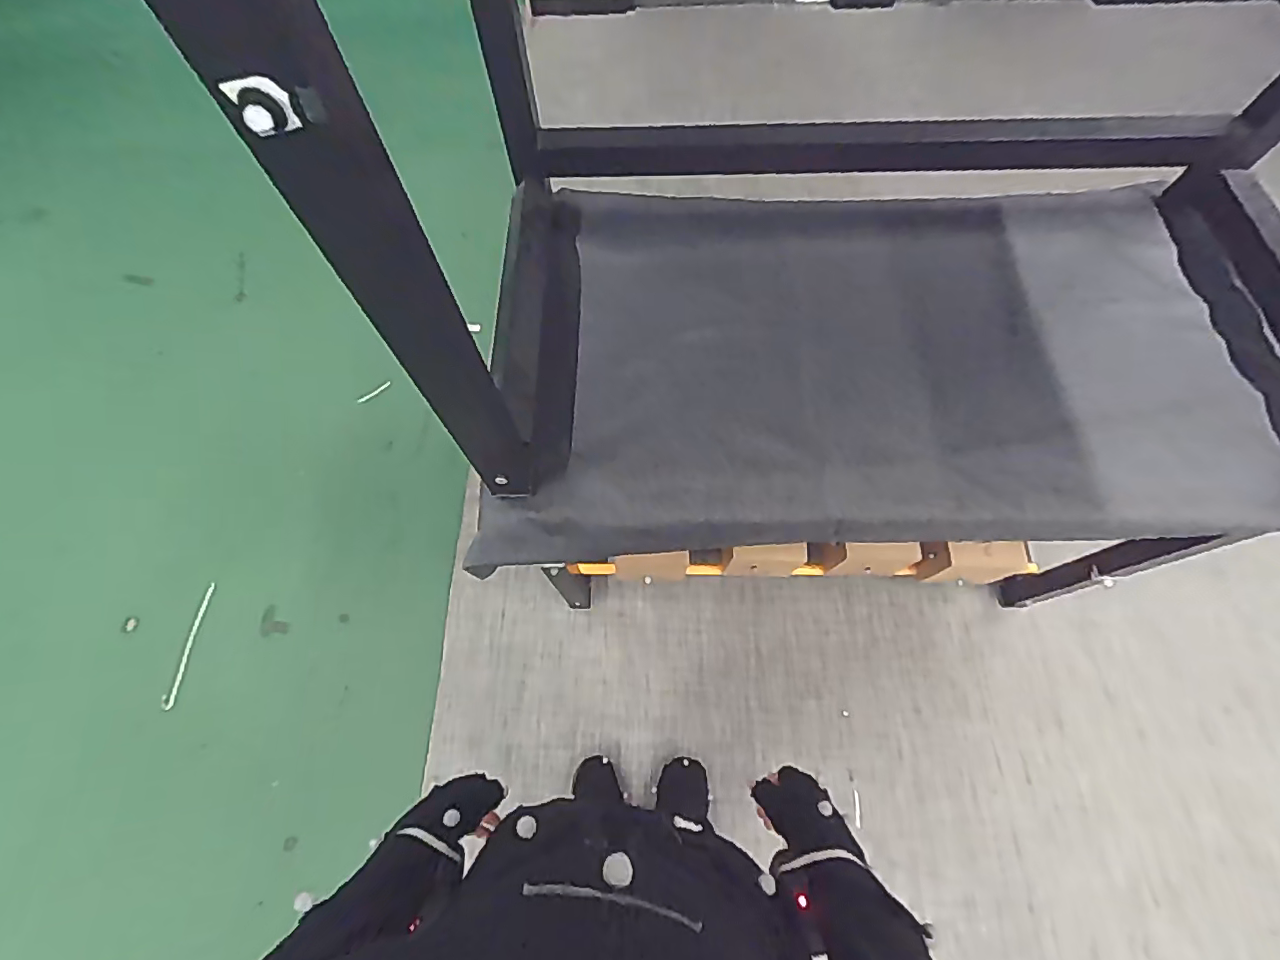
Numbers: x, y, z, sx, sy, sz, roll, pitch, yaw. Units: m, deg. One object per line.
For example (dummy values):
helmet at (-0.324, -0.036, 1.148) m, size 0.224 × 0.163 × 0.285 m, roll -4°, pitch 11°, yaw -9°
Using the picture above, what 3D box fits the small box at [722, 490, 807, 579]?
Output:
small box at (0.289, 0.135, 1.287) m, size 0.168 × 0.176 × 0.179 m, roll 1°, pitch 66°, yaw 1°

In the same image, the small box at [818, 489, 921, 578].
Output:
small box at (0.535, 0.131, 1.283) m, size 0.168 × 0.176 × 0.179 m, roll 0°, pitch 66°, yaw 2°
